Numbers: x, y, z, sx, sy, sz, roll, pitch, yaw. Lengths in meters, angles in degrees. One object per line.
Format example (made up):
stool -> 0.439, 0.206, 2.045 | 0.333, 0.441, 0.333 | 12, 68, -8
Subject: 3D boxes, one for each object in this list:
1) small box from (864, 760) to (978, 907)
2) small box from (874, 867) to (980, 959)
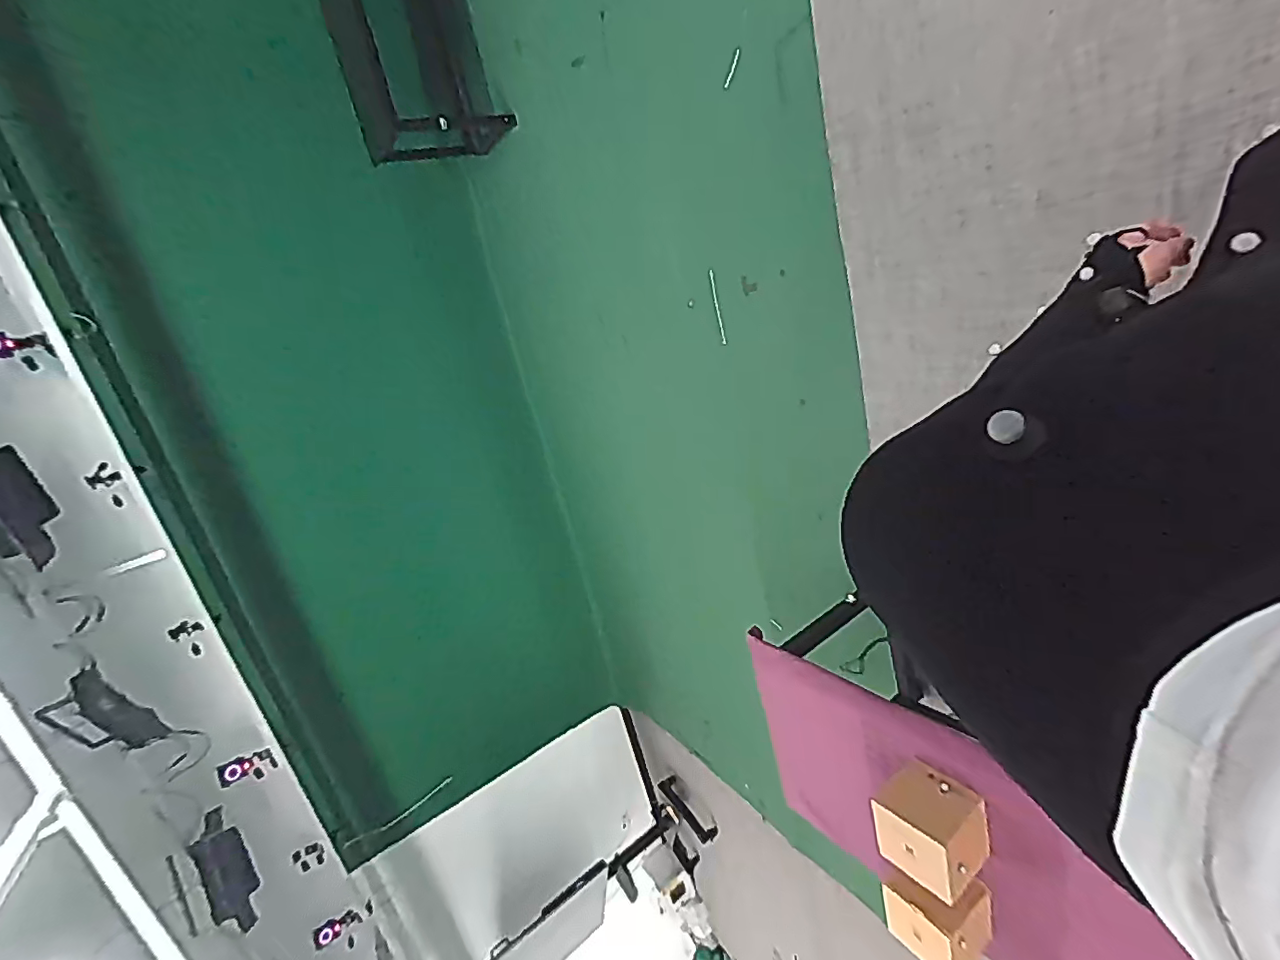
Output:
small box -> 0.635, 0.785, 1.218 | 0.168, 0.176, 0.179 | 12, 121, 55
small box -> 0.694, 1.039, 1.304 | 0.168, 0.176, 0.179 | 14, 121, 56
